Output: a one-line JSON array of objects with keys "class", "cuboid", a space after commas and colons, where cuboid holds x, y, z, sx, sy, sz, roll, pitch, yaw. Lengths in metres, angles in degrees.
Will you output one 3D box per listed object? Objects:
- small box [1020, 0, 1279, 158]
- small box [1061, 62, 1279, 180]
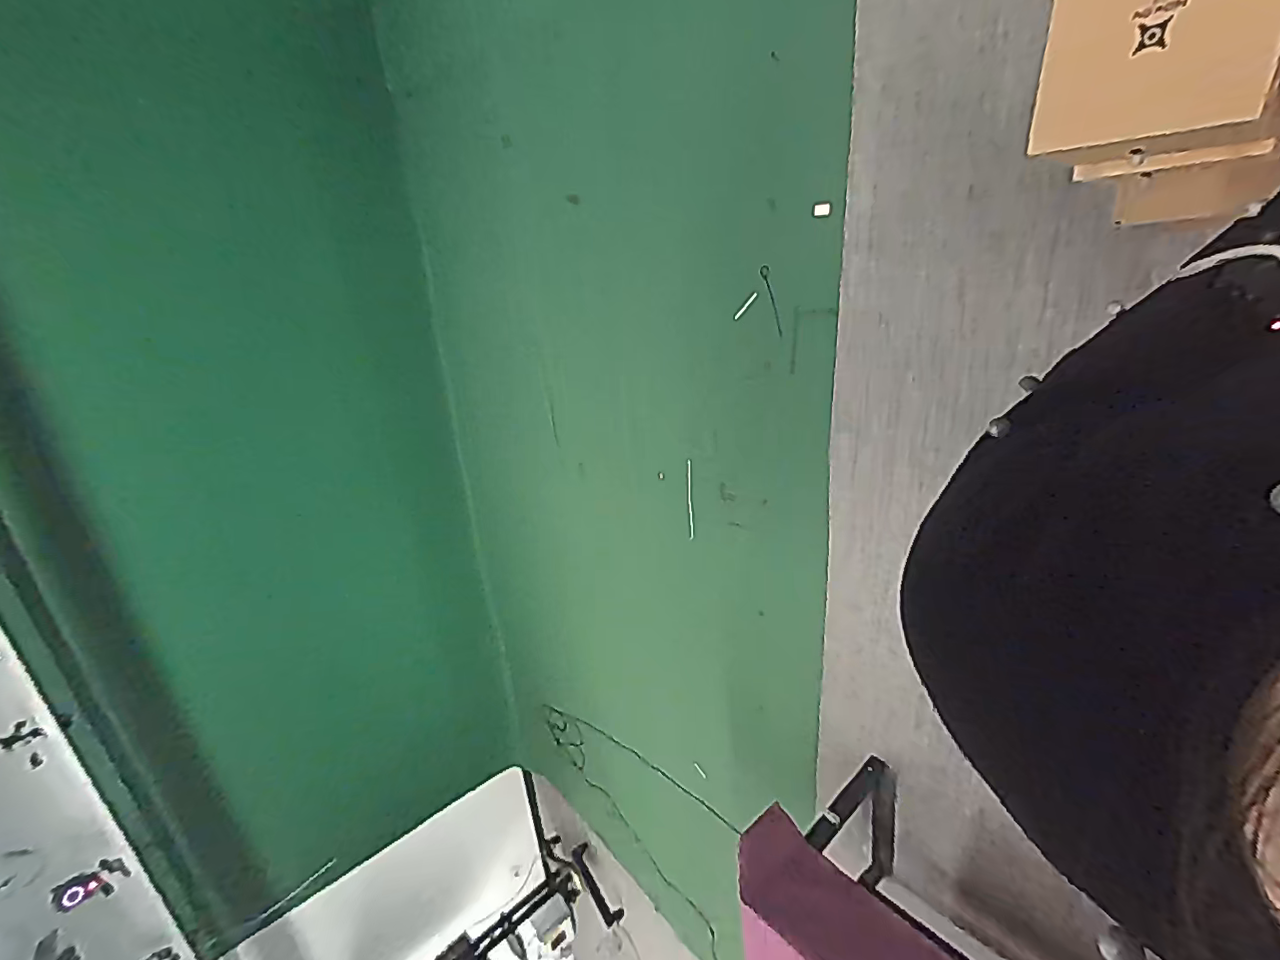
[{"class": "small box", "cuboid": [0.506, -0.423, 0.524, 0.168, 0.176, 0.179, 21, 122, 43]}, {"class": "small box", "cuboid": [0.629, -0.457, 0.628, 0.168, 0.176, 0.179, 19, 121, 45]}]
